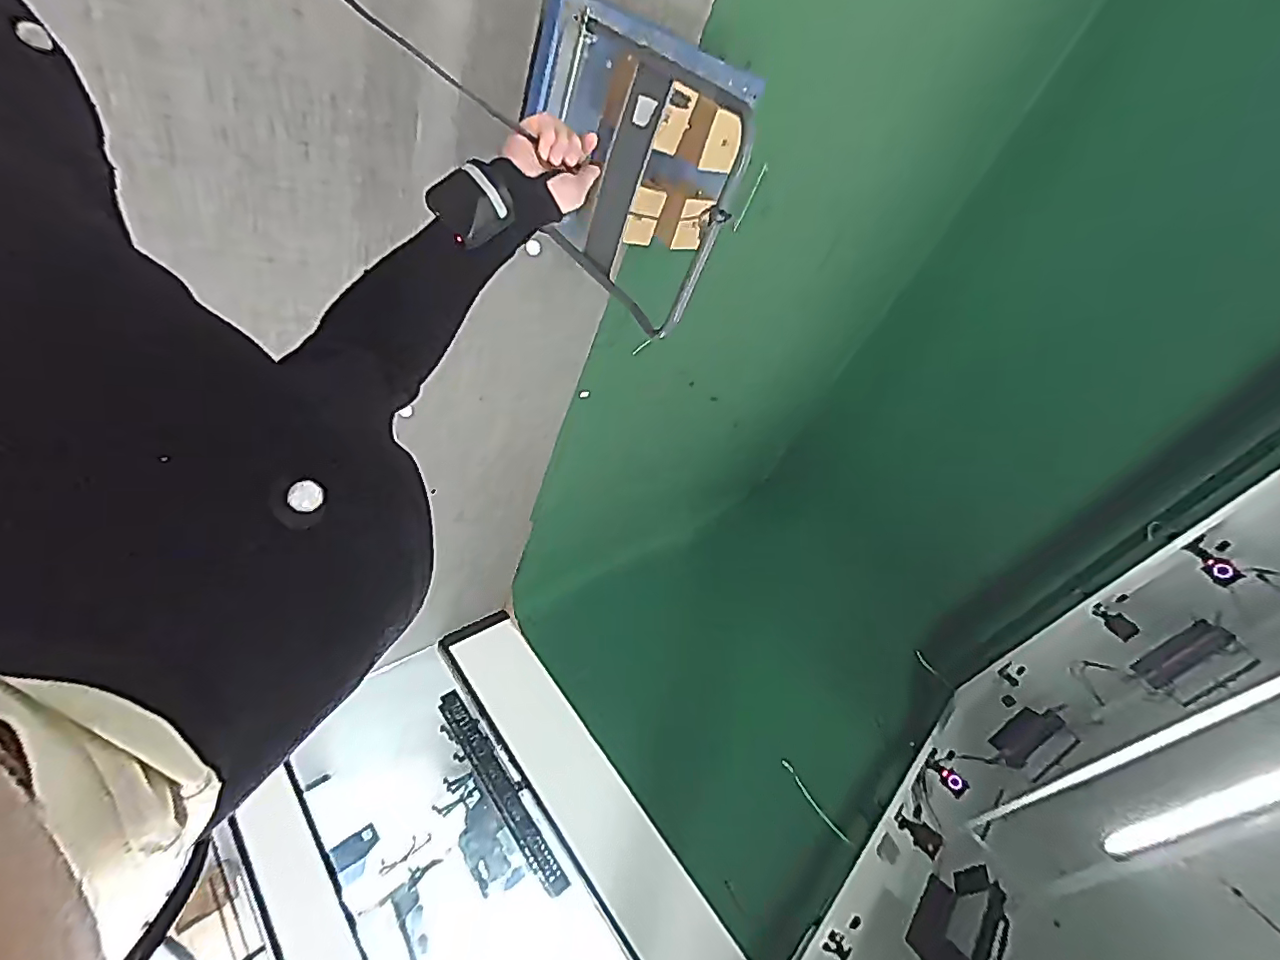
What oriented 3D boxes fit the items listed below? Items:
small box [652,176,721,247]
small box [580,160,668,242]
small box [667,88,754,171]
[{"bbox_3d":[0.137,-0.919,1.853,0.179,0.176,0.168,-19,146,-39],"label":"small box"},{"bbox_3d":[-0.054,-0.861,1.671,0.179,0.176,0.168,-16,144,-43],"label":"small box"},{"bbox_3d":[0.214,-1.094,1.689,0.179,0.176,0.168,-20,148,-39],"label":"small box"}]
